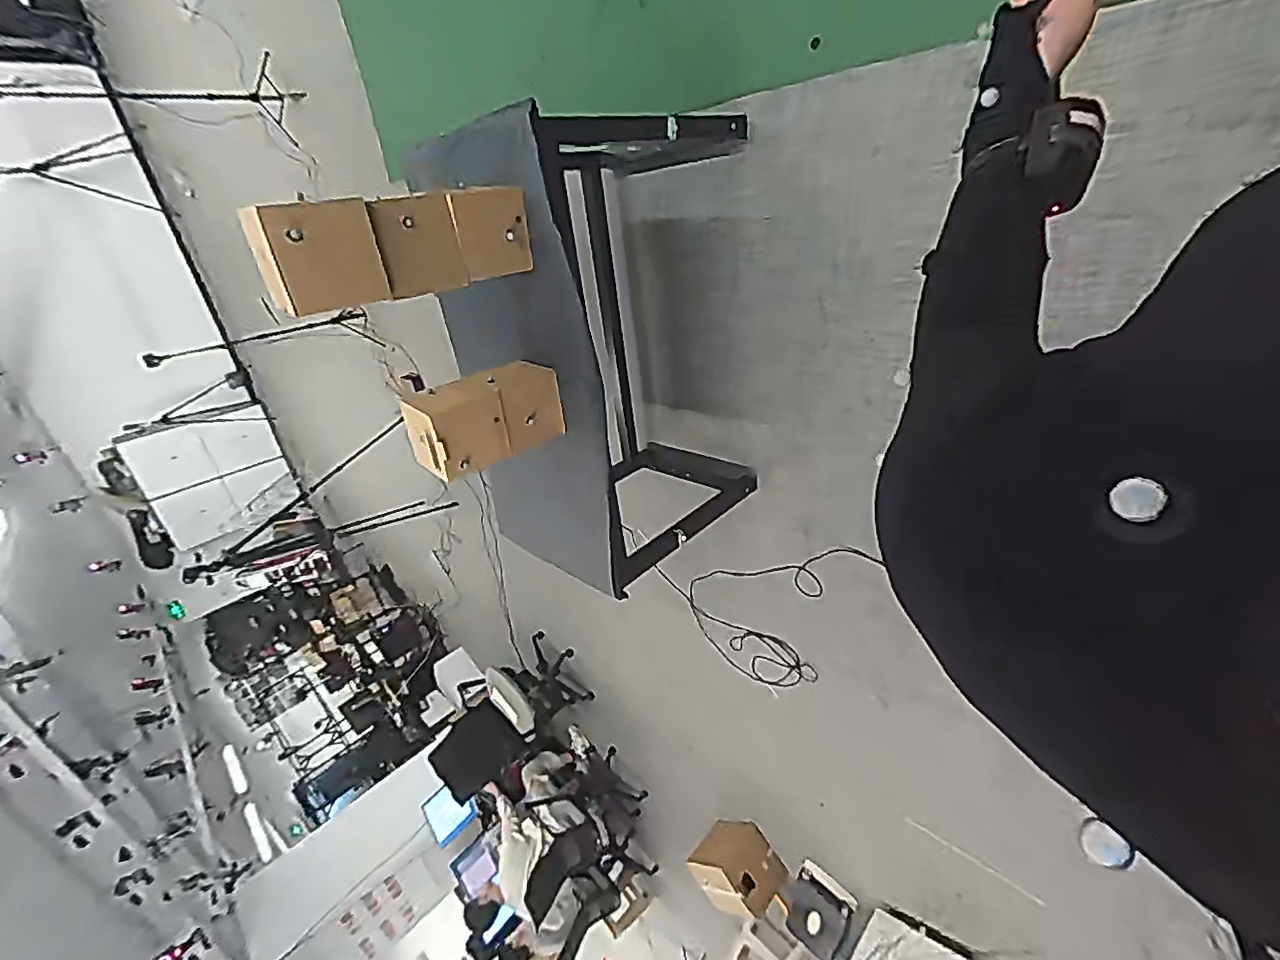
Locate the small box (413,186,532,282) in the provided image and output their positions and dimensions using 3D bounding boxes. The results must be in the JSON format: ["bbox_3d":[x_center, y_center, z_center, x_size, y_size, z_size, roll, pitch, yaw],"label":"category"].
[{"bbox_3d":[-0.358,-0.537,1.174,0.179,0.176,0.168,26,133,39],"label":"small box"}]

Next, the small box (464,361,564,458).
[{"bbox_3d":[-0.310,-0.182,1.362,0.168,0.176,0.179,22,130,41],"label":"small box"}]

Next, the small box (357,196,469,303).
[{"bbox_3d":[-0.473,-0.463,1.086,0.168,0.176,0.179,20,129,45],"label":"small box"}]

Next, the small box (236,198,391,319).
[{"bbox_3d":[-0.579,-0.404,0.972,0.168,0.176,0.179,25,132,42],"label":"small box"}]
